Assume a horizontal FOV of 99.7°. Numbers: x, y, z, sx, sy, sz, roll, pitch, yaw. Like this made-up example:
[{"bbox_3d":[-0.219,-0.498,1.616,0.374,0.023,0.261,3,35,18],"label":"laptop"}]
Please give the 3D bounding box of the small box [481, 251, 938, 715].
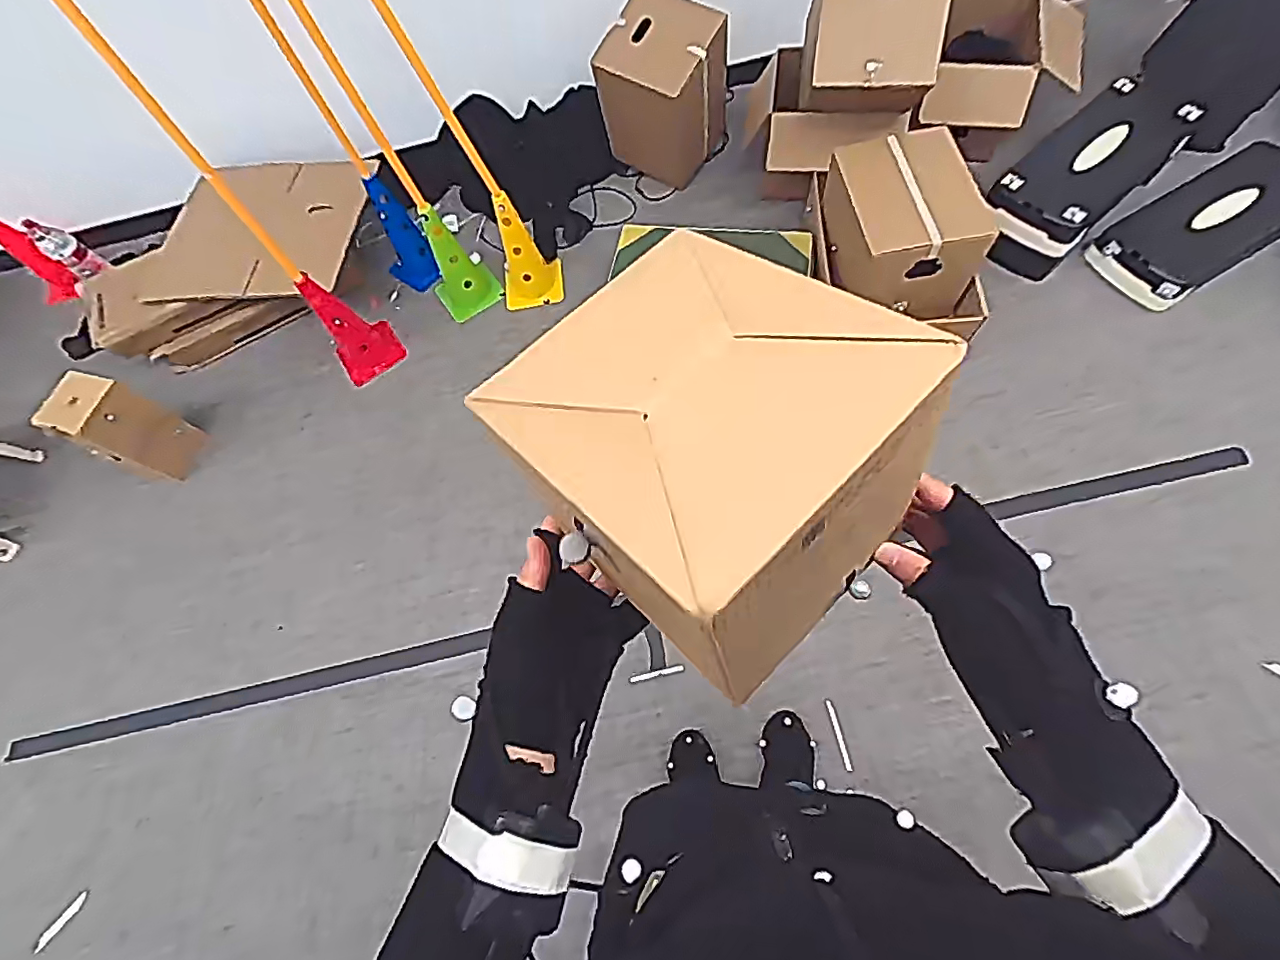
[{"bbox_3d":[0.034,0.000,0.316,0.168,0.176,0.179,-41,57,-11],"label":"small box"}]
